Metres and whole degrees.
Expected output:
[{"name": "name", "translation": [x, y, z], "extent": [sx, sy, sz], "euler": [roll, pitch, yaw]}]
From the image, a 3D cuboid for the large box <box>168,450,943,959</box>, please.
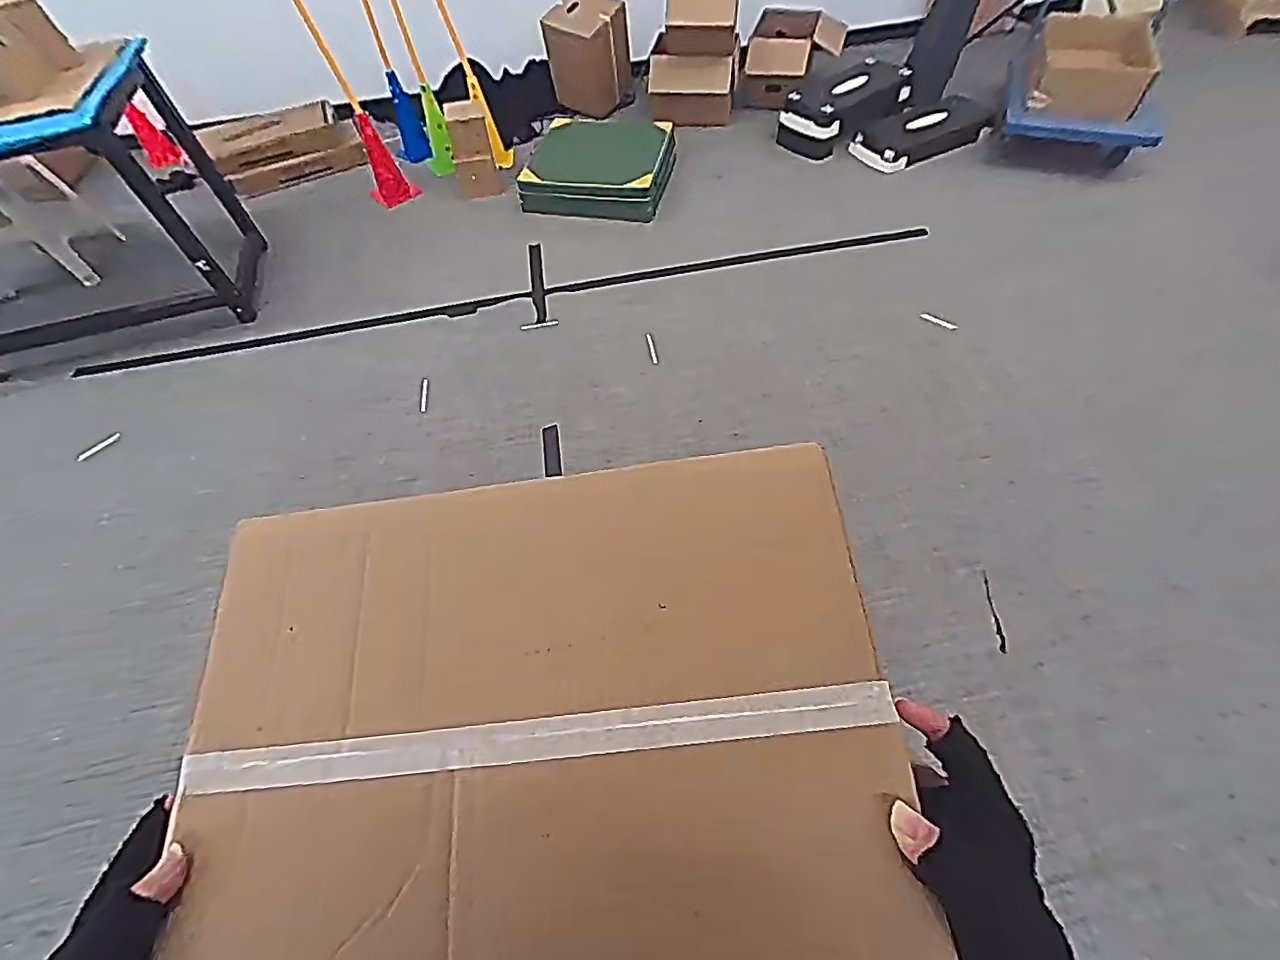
[{"name": "large box", "translation": [-0.046, 0.202, 0.448], "extent": [0.408, 0.320, 0.320], "euler": [-8, 66, 4]}]
